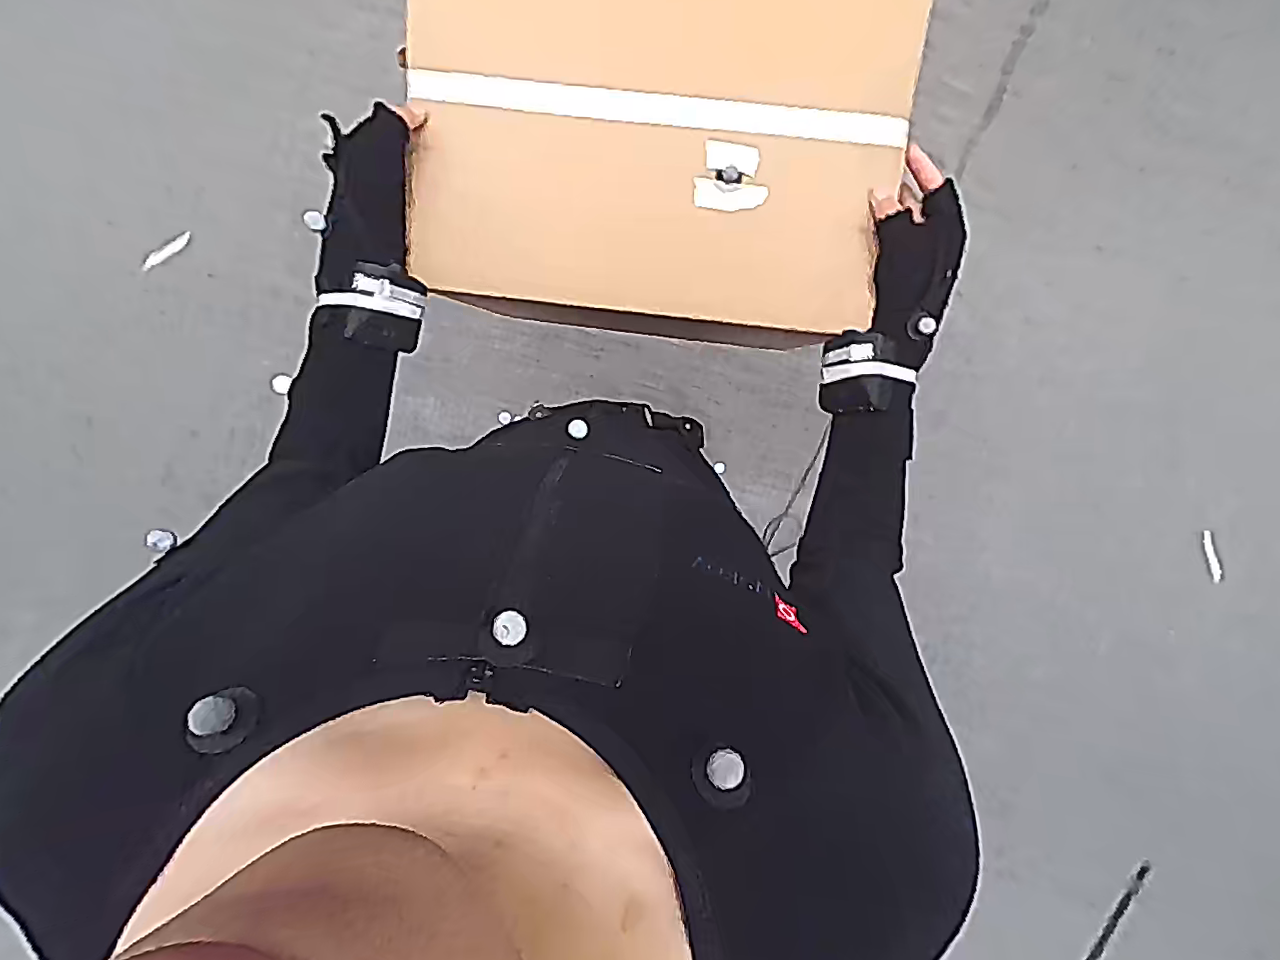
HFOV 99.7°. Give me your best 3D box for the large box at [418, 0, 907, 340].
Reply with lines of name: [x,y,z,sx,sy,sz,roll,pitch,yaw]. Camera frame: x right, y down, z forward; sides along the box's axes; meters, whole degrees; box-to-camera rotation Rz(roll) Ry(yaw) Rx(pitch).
large box: [0.012,-0.336,0.602,0.408,0.320,0.320,6,103,1]
